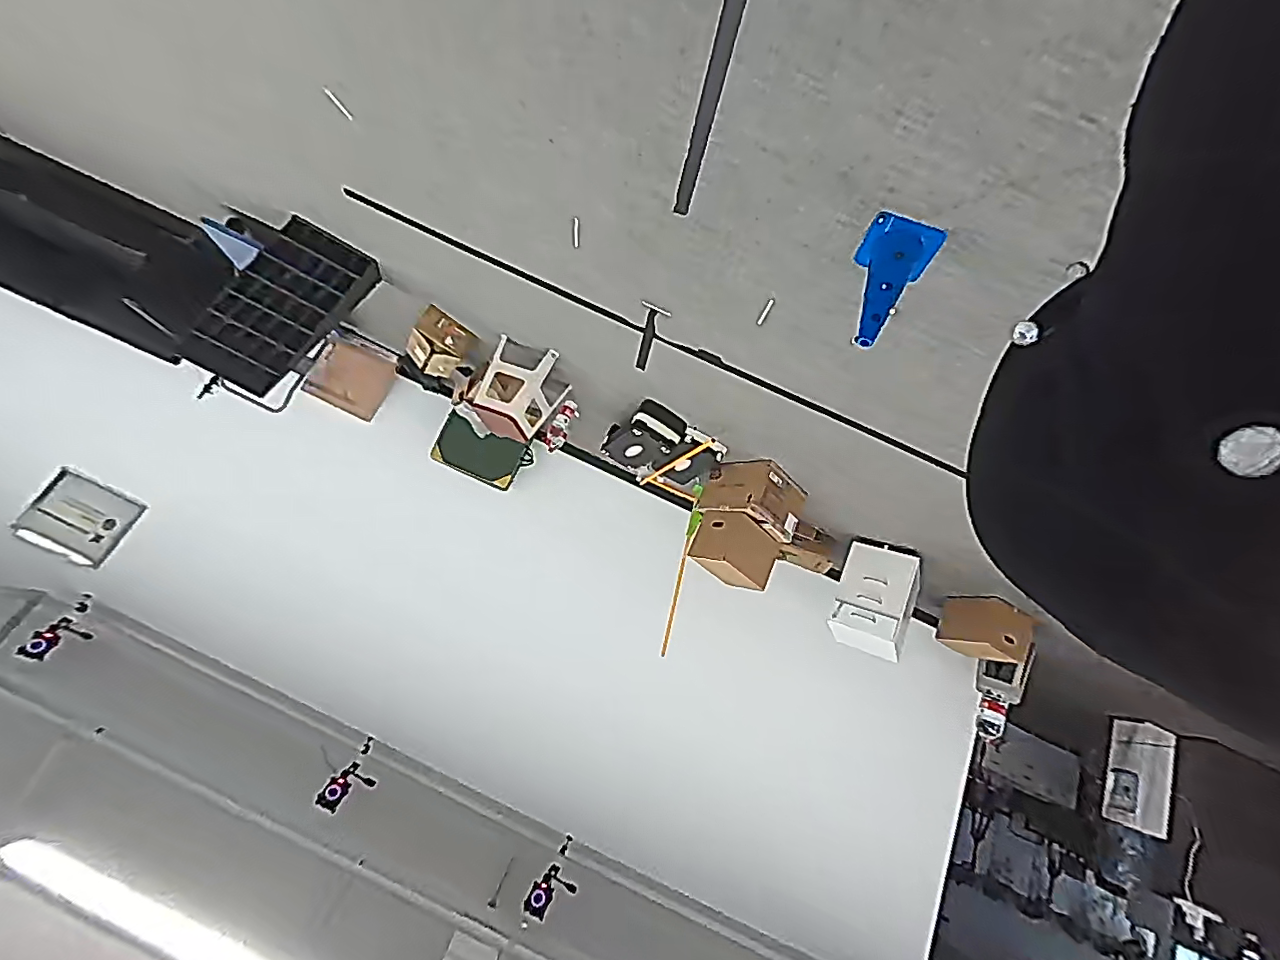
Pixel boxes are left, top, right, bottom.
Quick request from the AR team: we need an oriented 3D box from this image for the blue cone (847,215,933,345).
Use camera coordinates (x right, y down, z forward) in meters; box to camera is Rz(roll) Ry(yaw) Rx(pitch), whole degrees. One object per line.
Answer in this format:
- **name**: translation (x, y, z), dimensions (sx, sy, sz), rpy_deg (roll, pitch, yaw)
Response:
- **blue cone**: translation (0.665, -0.534, 1.522), dimensions (0.192, 0.380, 0.193), rpy_deg (24, 162, 6)
